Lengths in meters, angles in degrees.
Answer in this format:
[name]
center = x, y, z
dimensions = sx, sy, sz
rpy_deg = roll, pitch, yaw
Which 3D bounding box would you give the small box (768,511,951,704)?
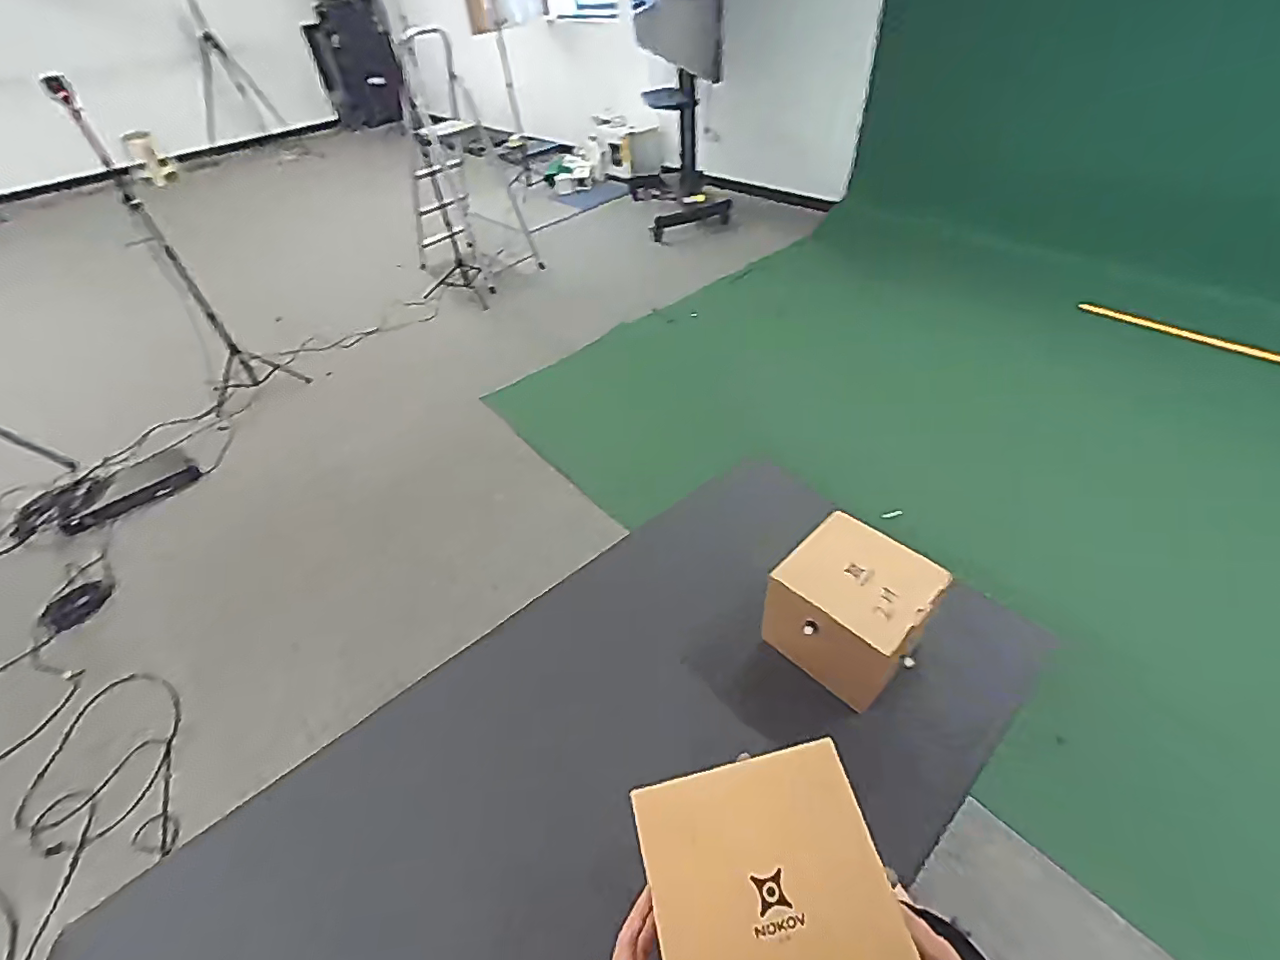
[small box]
center = 0.302, 0.183, 0.779
dimensions = 0.168, 0.176, 0.179
rpy_deg = -37, 51, -25
